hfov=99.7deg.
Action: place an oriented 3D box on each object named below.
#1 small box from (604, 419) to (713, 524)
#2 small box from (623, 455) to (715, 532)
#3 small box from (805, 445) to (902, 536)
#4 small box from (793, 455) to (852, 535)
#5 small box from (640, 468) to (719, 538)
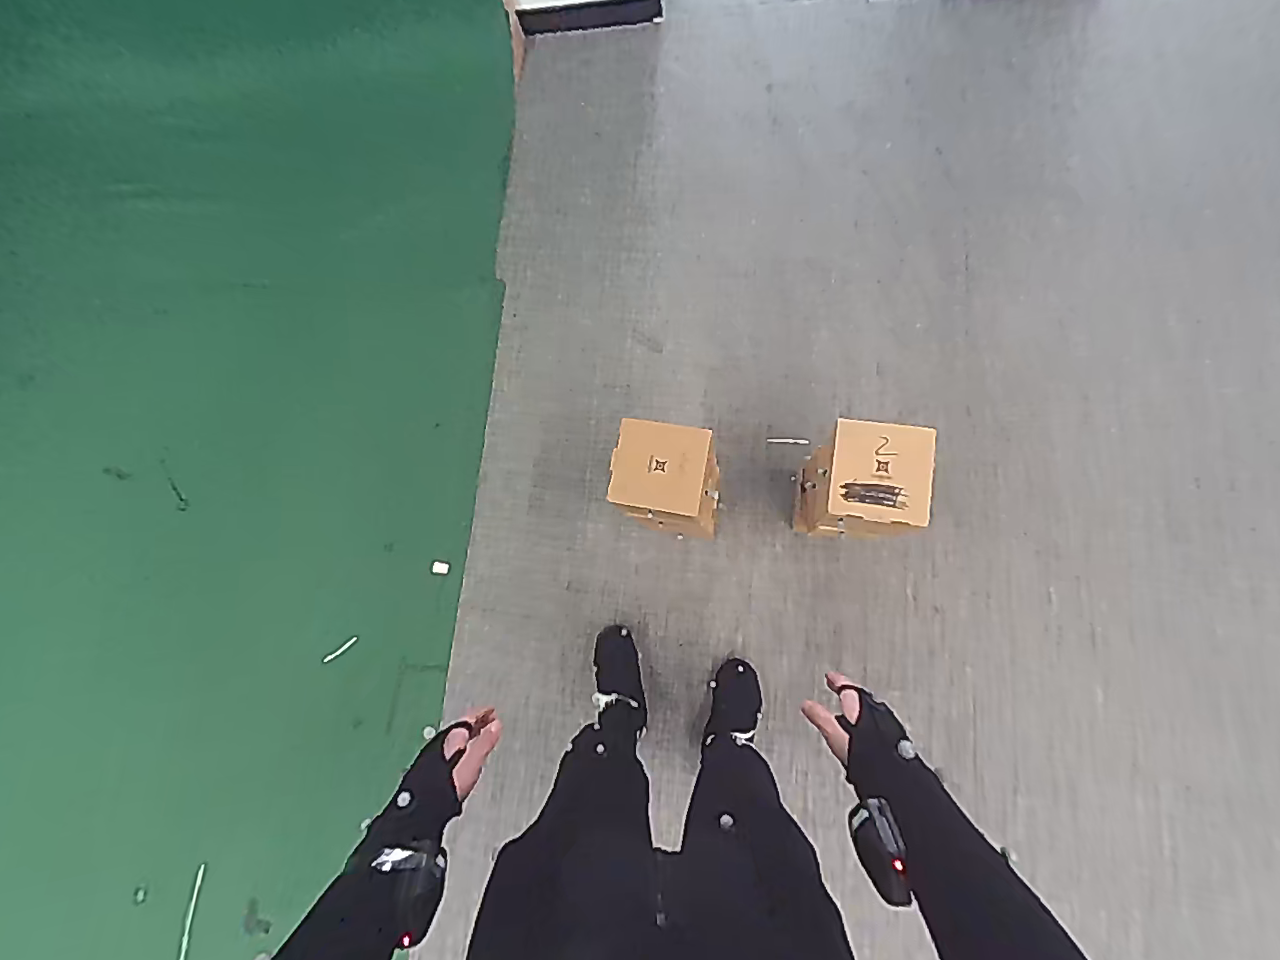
[{"bbox_3d":[0.044,-0.011,1.075,0.179,0.176,0.168,9,81,11],"label":"small box"},{"bbox_3d":[0.073,0.022,1.232,0.179,0.176,0.168,7,81,11],"label":"small box"},{"bbox_3d":[0.454,0.027,1.167,0.168,0.176,0.179,1,79,9],"label":"small box"},{"bbox_3d":[0.476,0.042,1.328,0.179,0.176,0.168,5,80,10],"label":"small box"},{"bbox_3d":[0.107,0.054,1.390,0.179,0.176,0.168,6,80,10],"label":"small box"}]
